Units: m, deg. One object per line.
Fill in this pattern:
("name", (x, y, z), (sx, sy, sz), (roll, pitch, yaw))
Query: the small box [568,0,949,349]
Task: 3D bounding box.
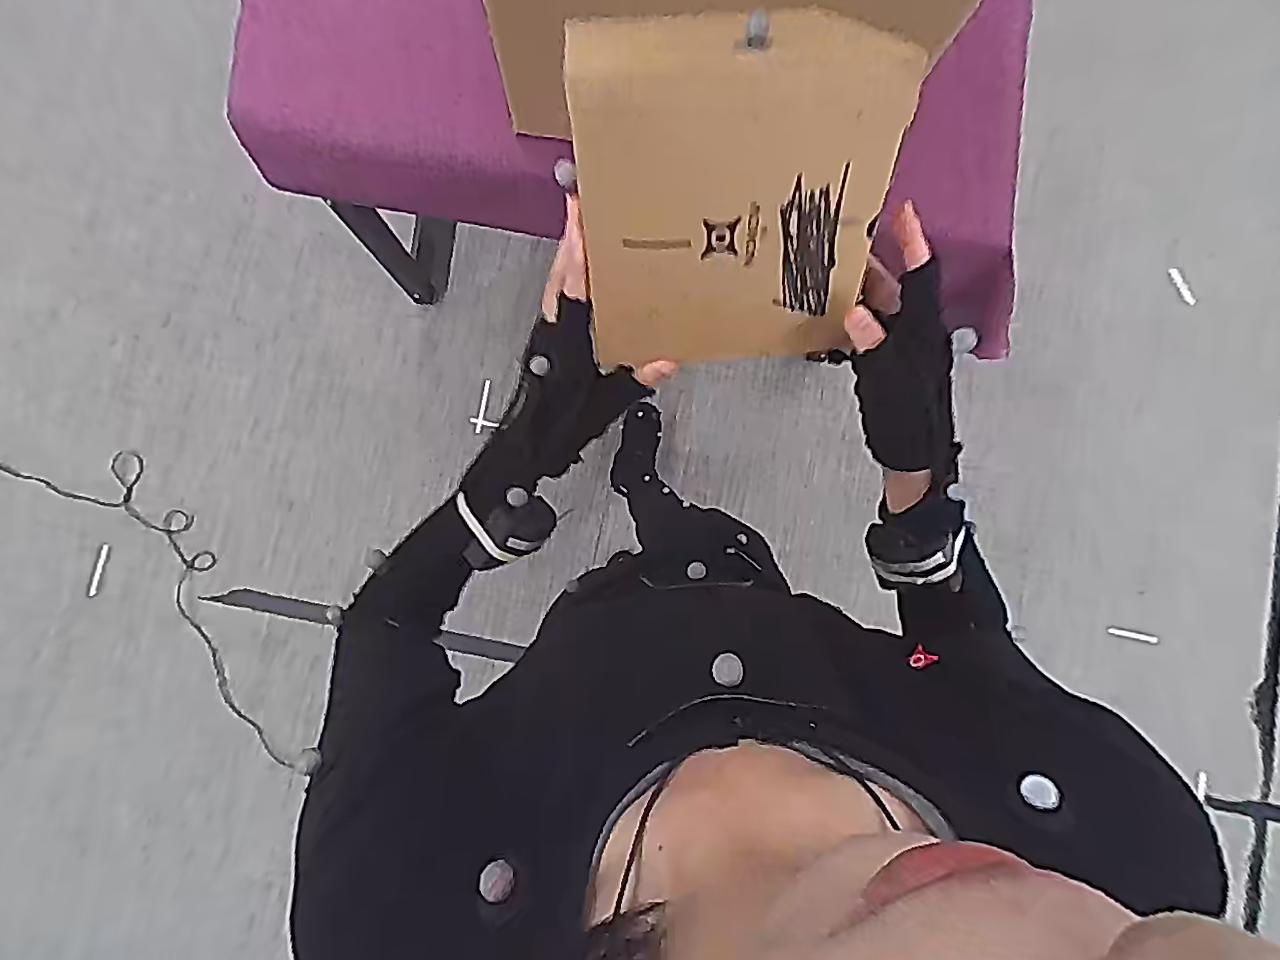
("small box", (0.048, -0.205, 0.350), (0.179, 0.168, 0.176), (-4, 46, -3))
